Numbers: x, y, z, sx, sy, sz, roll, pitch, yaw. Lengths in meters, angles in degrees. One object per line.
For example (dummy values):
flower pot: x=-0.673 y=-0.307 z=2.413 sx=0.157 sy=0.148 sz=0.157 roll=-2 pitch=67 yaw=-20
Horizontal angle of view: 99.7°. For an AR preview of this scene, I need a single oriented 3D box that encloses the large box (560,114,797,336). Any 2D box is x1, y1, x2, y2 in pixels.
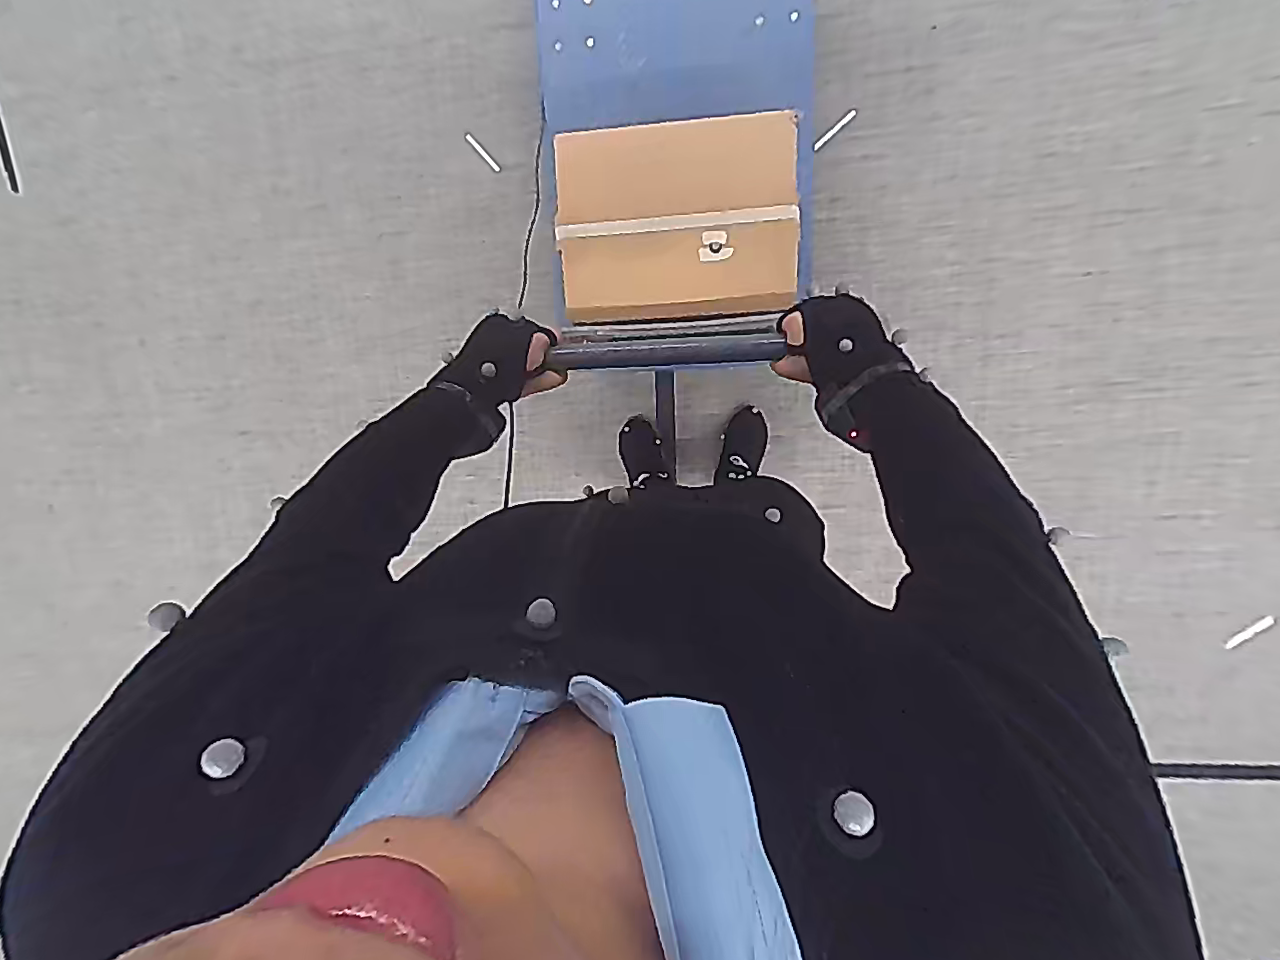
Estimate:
large box: x=0.079 y=-0.472 z=1.083 sx=0.408 sy=0.320 sz=0.320 roll=-2 pitch=101 yaw=6
